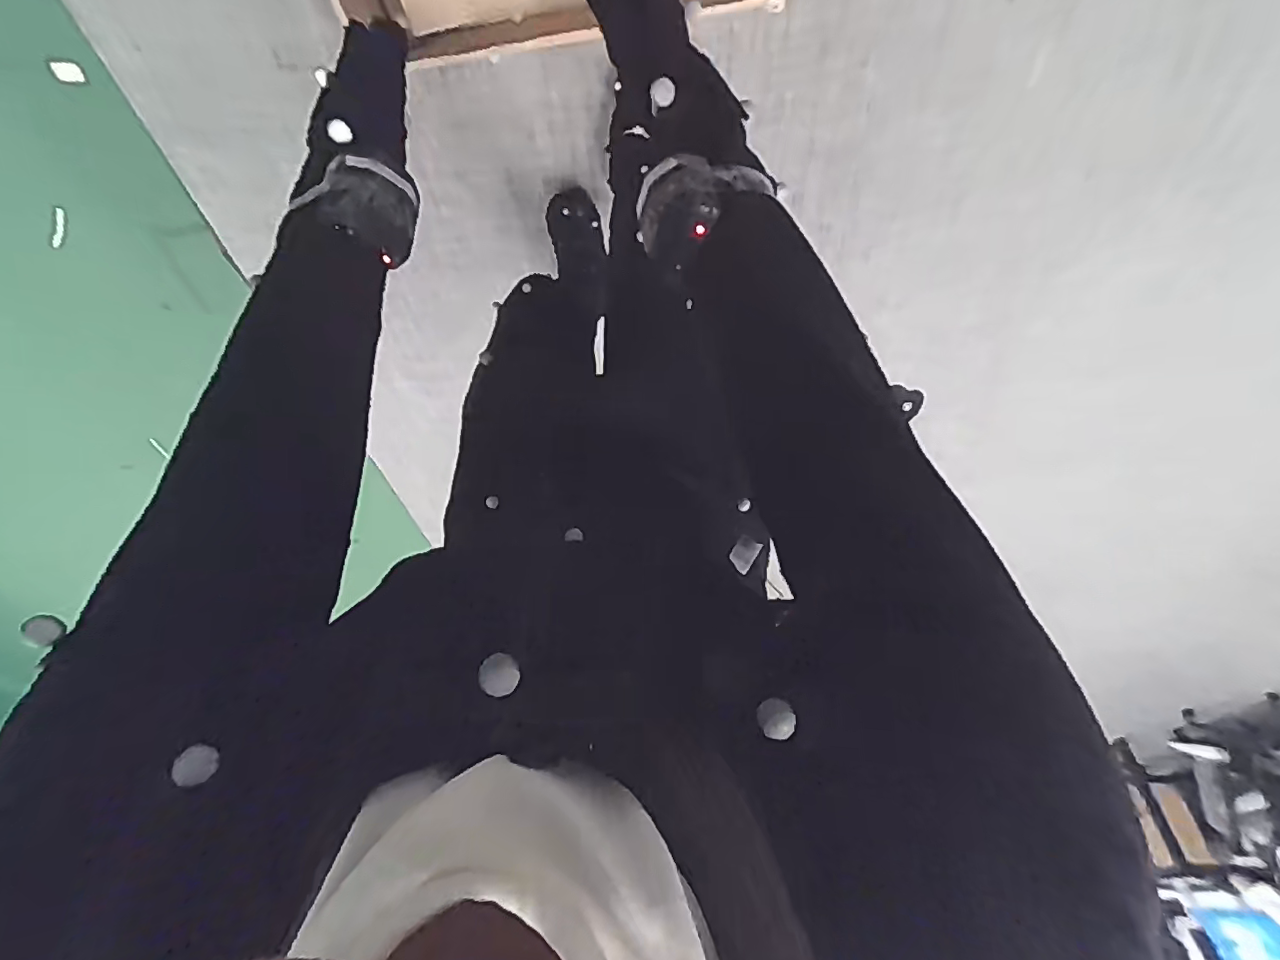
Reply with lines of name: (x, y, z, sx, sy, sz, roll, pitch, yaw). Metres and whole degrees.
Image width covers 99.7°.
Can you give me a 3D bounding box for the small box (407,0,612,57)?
small box: (-0.123, -0.507, 0.467, 0.179, 0.176, 0.168, -8, 139, 11)
